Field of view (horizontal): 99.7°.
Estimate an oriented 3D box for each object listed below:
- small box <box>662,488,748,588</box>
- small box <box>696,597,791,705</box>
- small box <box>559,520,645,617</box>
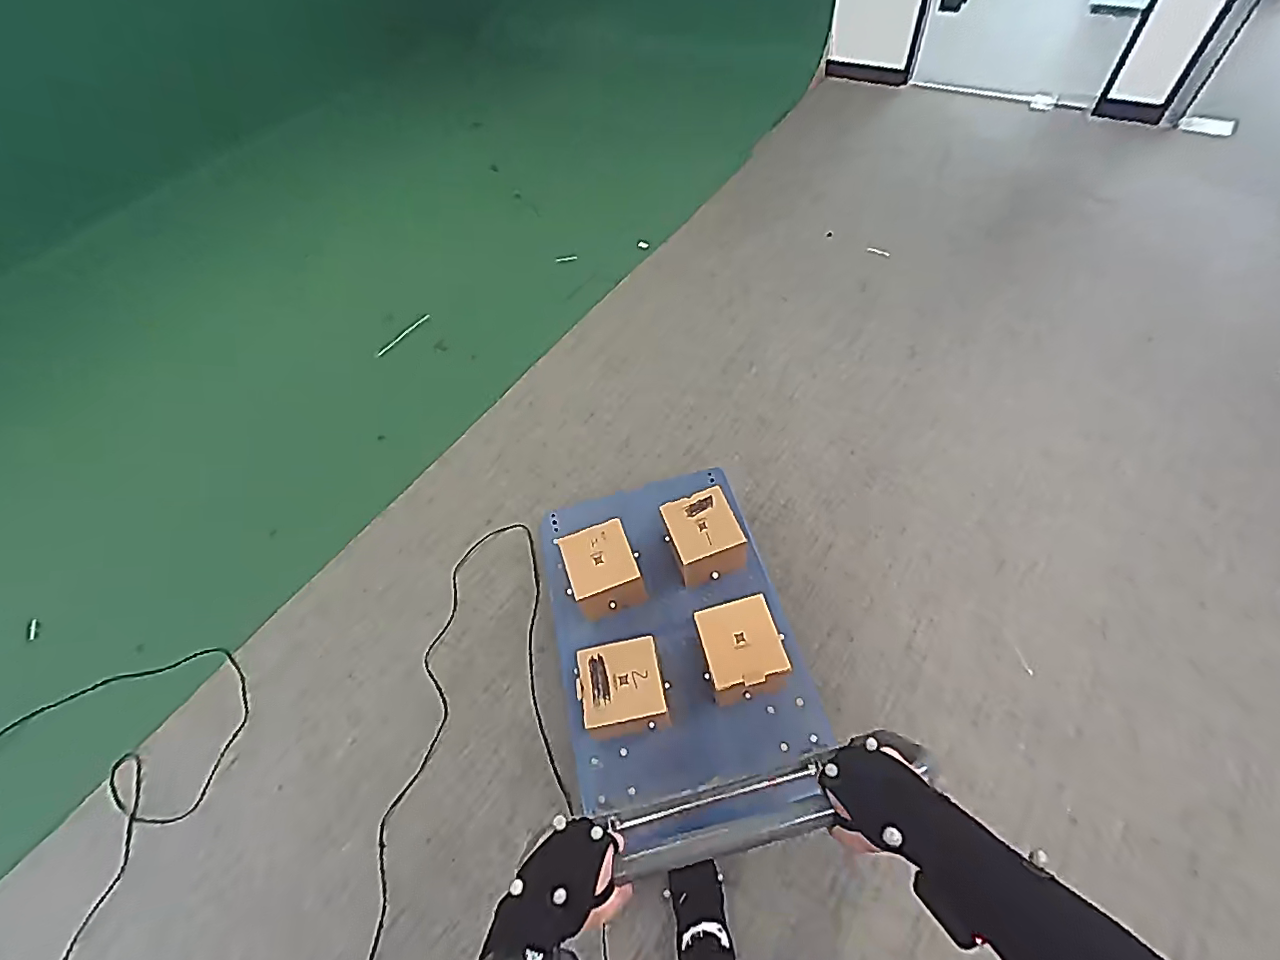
[{"bbox_3d":[0.164,0.154,1.401,0.168,0.176,0.179,-19,58,-4],"label":"small box"},{"bbox_3d":[0.228,0.394,1.240,0.168,0.176,0.179,-15,58,-2],"label":"small box"},{"bbox_3d":[-0.092,0.234,1.383,0.168,0.176,0.179,-19,57,-6],"label":"small box"}]
